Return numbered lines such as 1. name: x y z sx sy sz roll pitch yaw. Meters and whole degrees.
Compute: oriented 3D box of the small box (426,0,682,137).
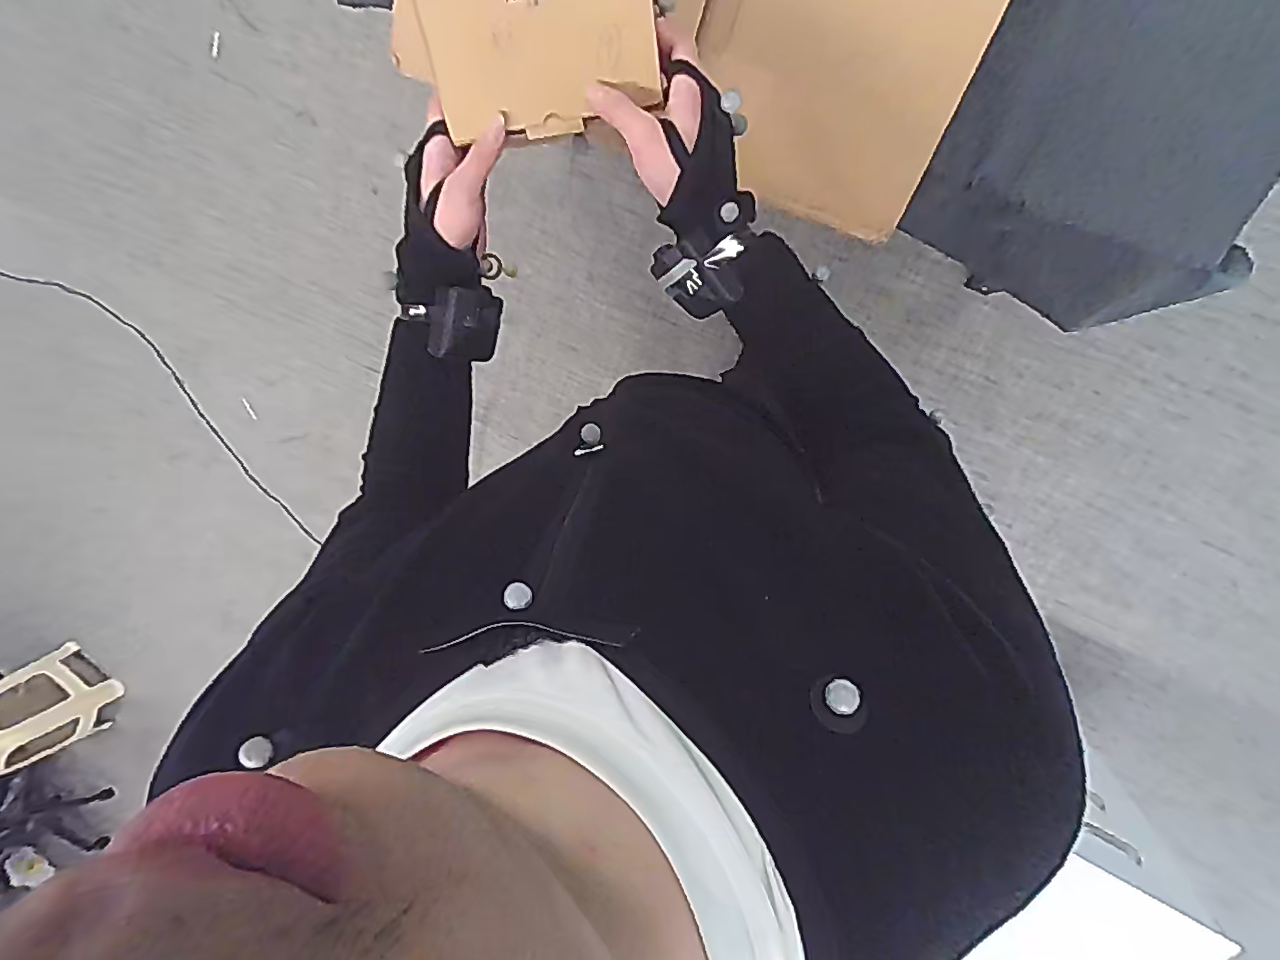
1. small box: -0.061 -0.388 0.428 0.168 0.176 0.179 -6 120 11
